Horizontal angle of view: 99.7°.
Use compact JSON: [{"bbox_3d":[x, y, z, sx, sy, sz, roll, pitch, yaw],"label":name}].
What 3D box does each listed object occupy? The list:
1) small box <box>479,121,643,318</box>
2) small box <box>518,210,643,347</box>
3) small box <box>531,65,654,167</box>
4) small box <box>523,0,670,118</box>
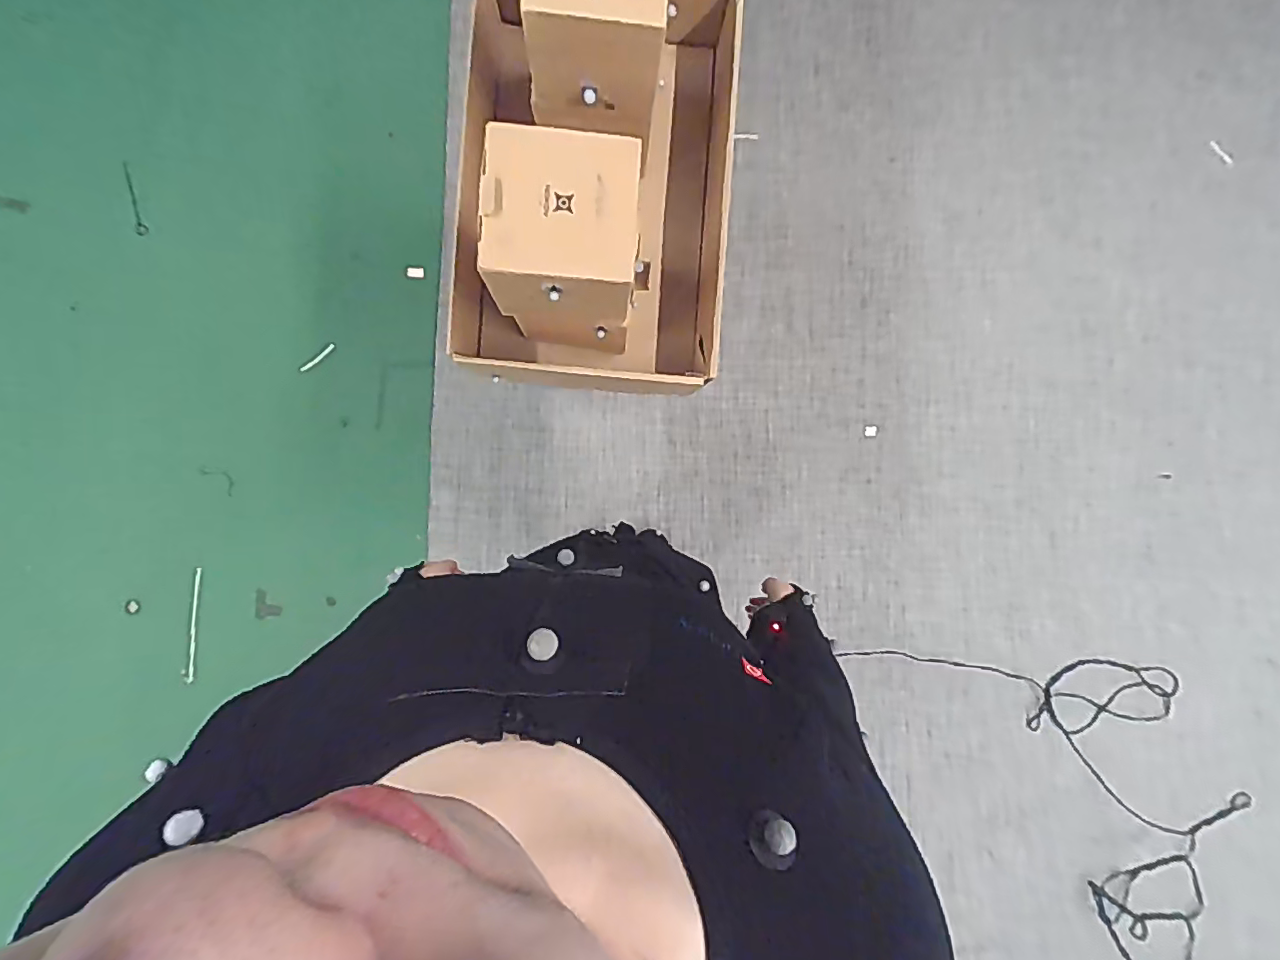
[{"bbox_3d":[-0.095,-0.313,0.685,0.179,0.176,0.168,3,91,-6],"label":"small box"},{"bbox_3d":[-0.097,-0.317,0.847,0.179,0.176,0.168,7,90,-5],"label":"small box"},{"bbox_3d":[-0.064,-0.612,0.842,0.179,0.176,0.168,5,92,-4],"label":"small box"},{"bbox_3d":[-0.050,-0.603,0.679,0.168,0.176,0.179,4,92,-4],"label":"small box"}]
